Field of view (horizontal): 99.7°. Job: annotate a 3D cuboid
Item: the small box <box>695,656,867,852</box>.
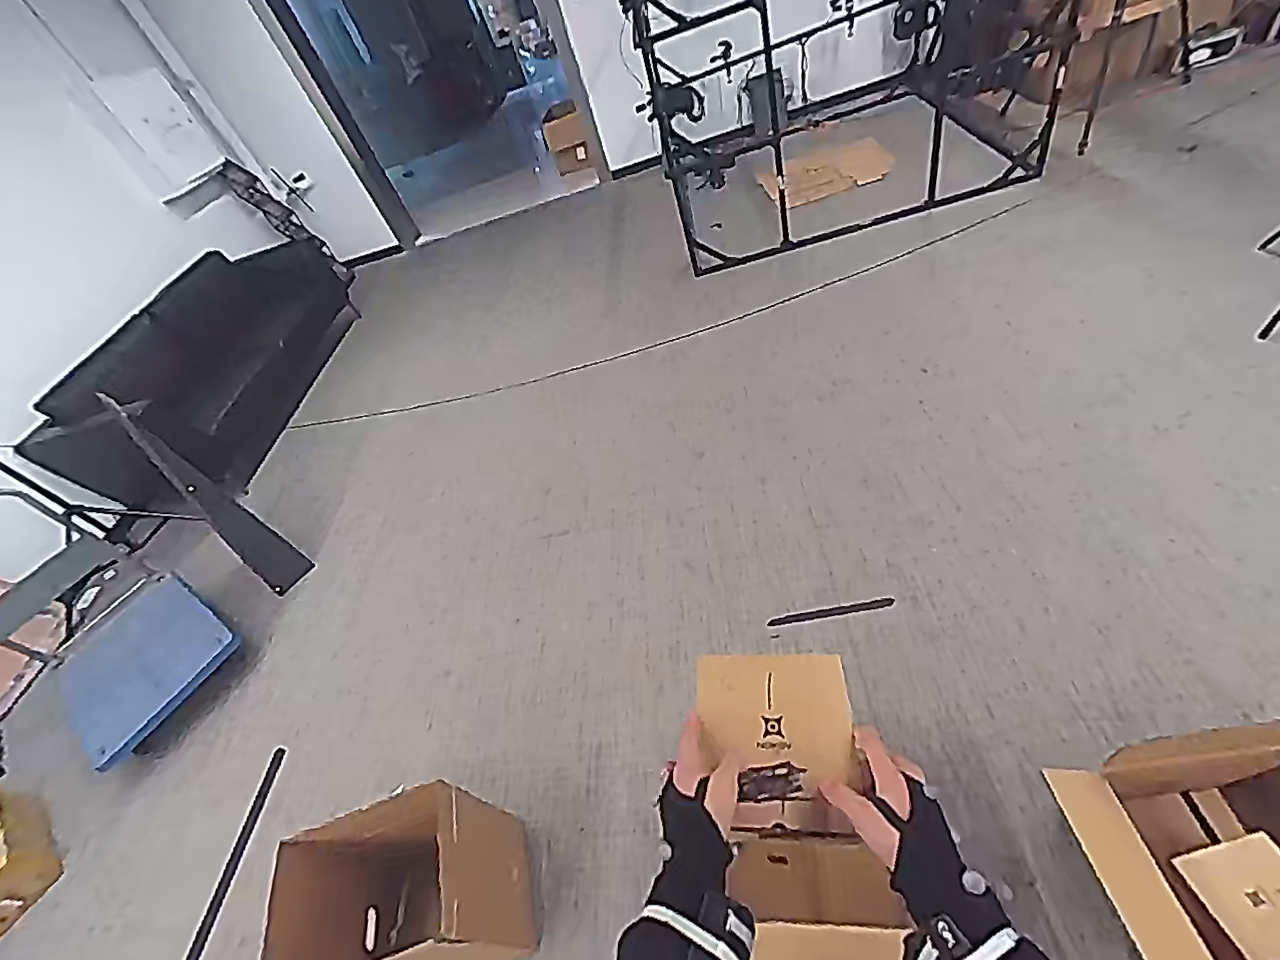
[{"bbox_3d":[0.158,0.320,0.630,0.168,0.176,0.179,-5,51,12],"label":"small box"}]
